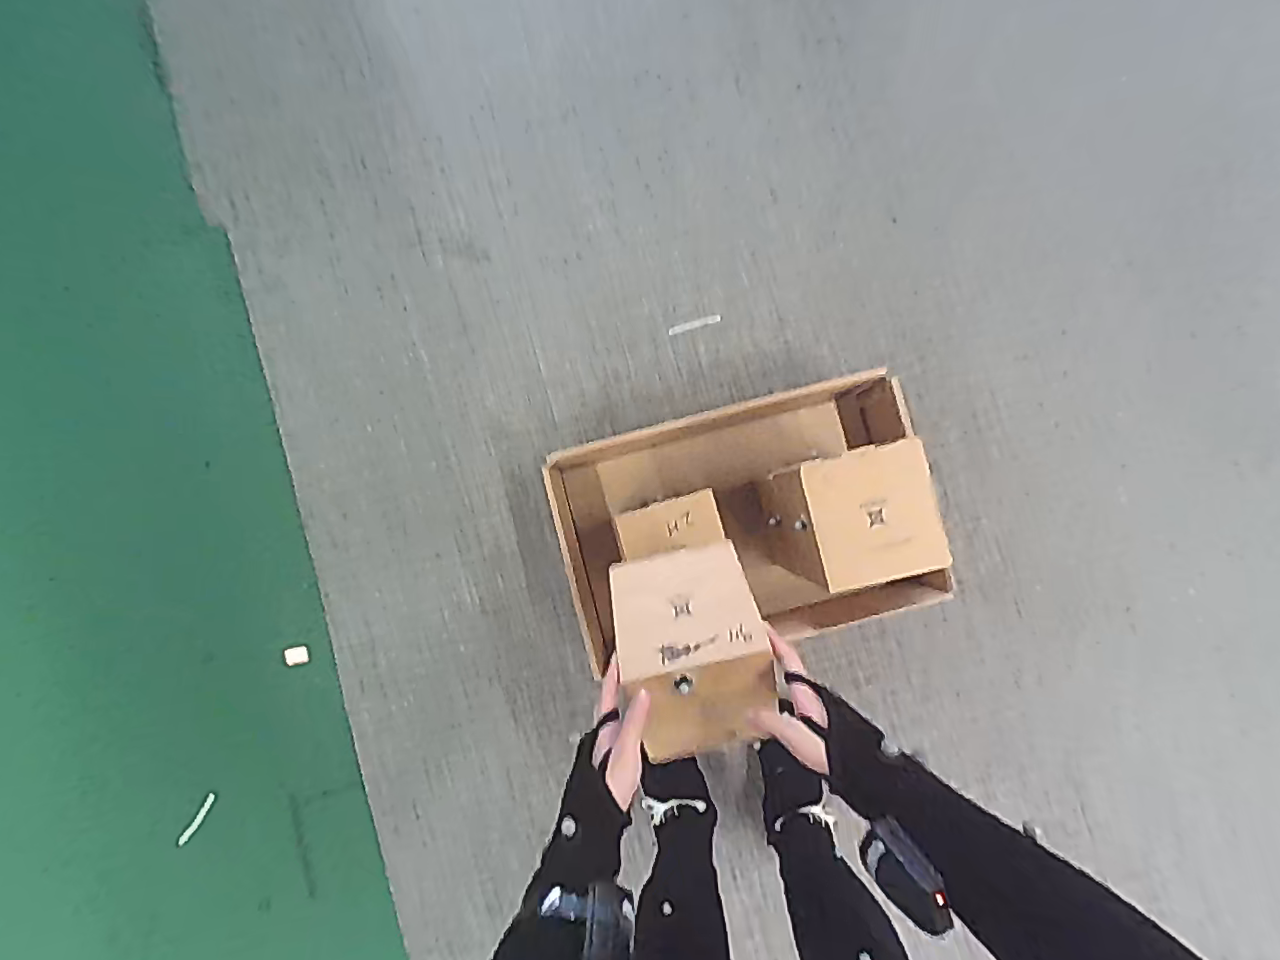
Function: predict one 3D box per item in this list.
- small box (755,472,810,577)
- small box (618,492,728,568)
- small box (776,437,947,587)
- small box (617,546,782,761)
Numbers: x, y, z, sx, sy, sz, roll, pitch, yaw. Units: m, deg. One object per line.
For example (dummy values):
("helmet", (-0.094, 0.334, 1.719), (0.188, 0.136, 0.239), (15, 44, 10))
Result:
("small box", (0.318, 0.058, 0.965), (0.168, 0.176, 0.179), (-16, 87, 1))
("small box", (0.064, 0.123, 0.961), (0.168, 0.176, 0.179), (-16, 88, -1))
("small box", (0.312, 0.047, 0.801), (0.168, 0.176, 0.179), (-13, 88, 2))
("small box", (0.071, 0.215, 0.685), (0.168, 0.179, 0.176), (-13, 122, 1))
